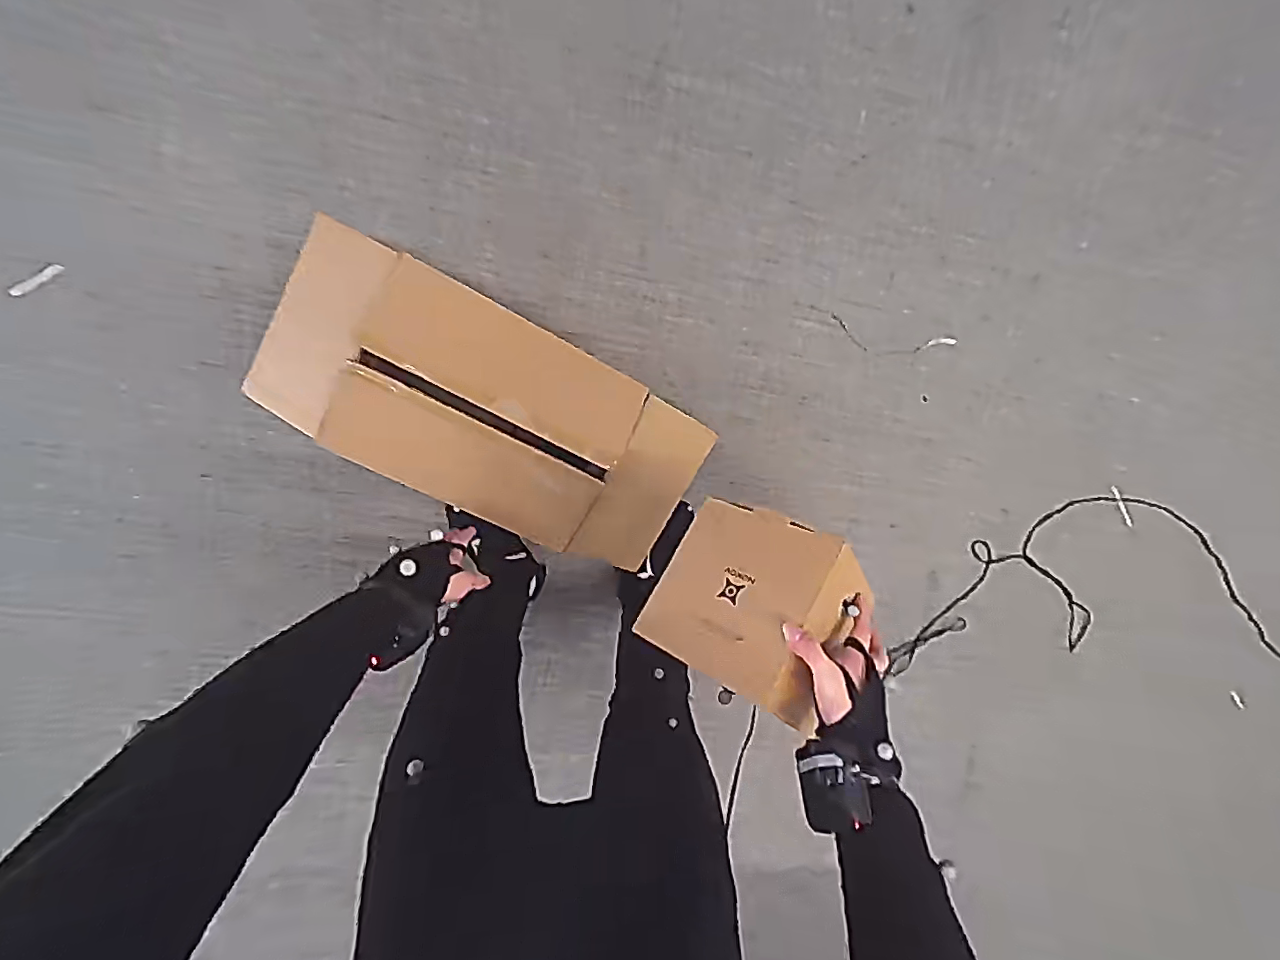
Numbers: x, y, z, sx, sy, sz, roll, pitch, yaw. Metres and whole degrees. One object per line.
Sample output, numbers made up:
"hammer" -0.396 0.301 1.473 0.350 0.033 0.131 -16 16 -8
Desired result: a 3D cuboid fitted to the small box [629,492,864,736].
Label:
"small box" 0.127 0.146 0.595 0.179 0.168 0.176 -56 135 -13
